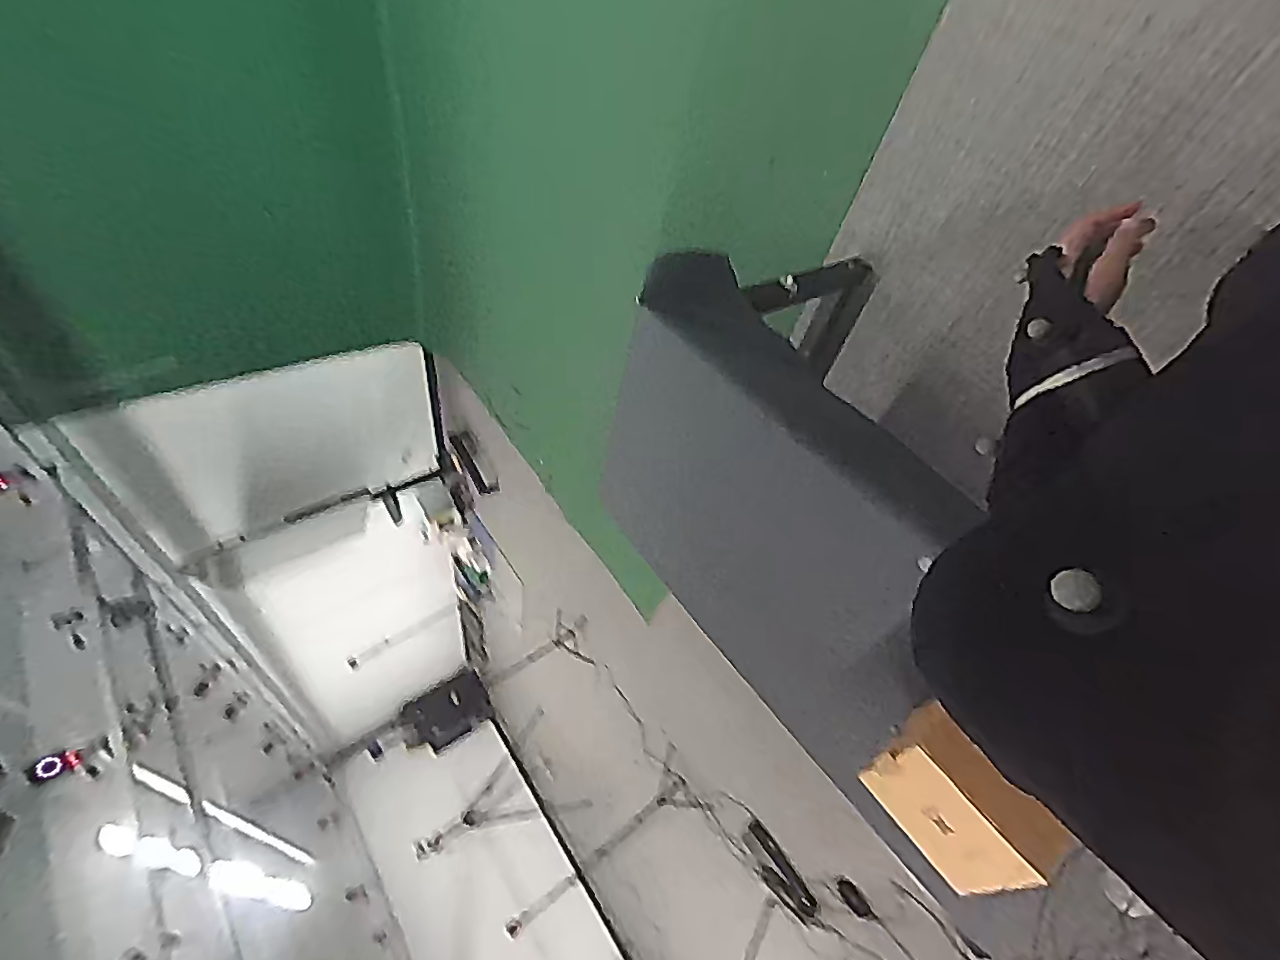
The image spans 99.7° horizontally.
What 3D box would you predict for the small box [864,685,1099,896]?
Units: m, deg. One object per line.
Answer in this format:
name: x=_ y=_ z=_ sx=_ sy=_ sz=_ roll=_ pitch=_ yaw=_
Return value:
small box: x=0.451 y=0.405 z=0.727 sx=0.179 sy=0.176 sz=0.168 roll=46 pitch=146 yaw=27
